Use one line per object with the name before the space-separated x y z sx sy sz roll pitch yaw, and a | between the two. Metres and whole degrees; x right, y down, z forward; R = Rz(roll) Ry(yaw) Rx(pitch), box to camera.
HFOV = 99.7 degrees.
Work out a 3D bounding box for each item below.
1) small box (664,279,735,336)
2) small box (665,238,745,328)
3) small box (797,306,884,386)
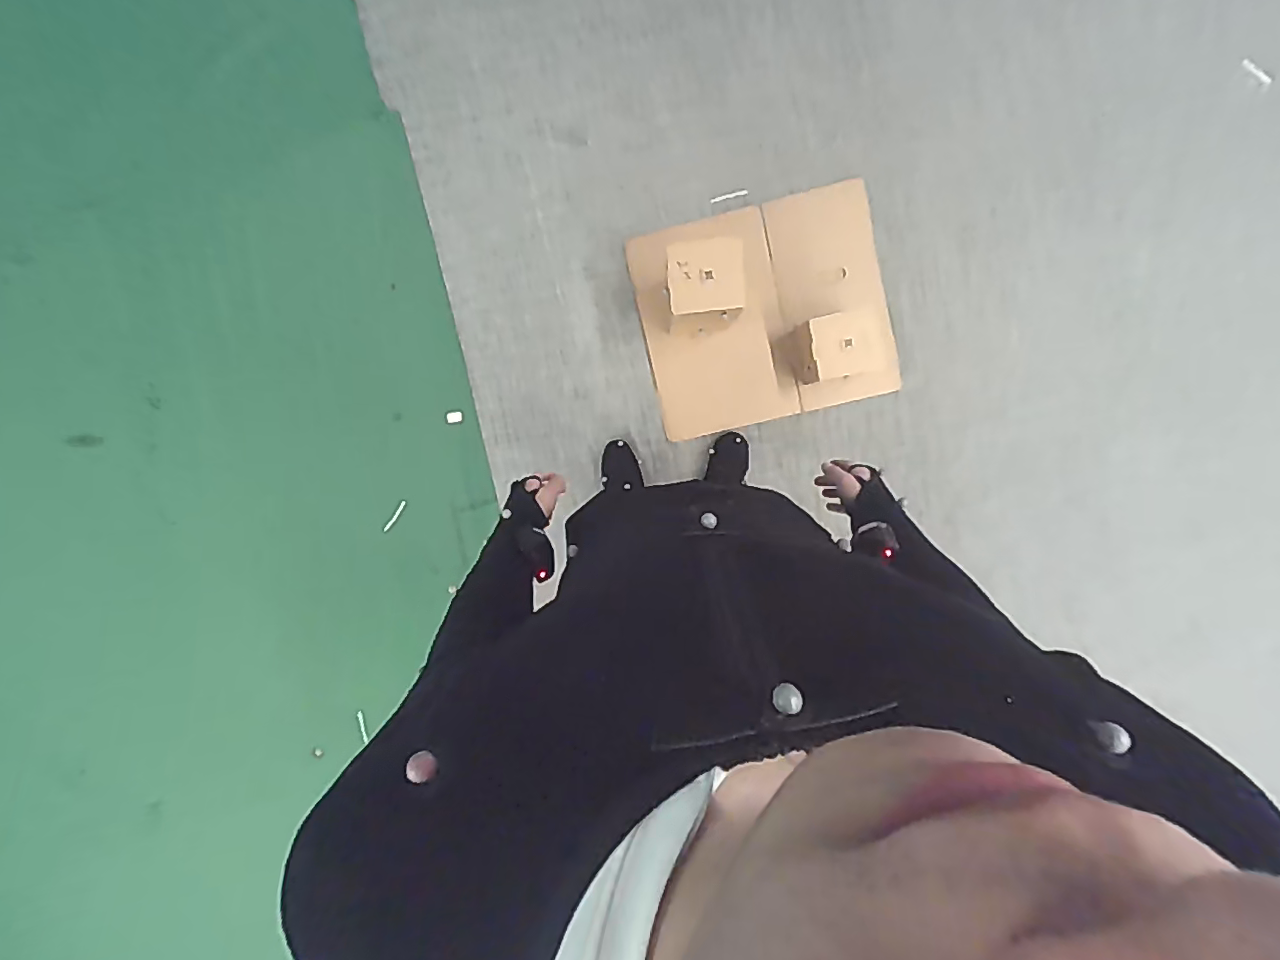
small box | 0.159 -0.498 1.489 0.179 0.176 0.168 -5 95 4
small box | 0.154 -0.475 1.325 0.179 0.176 0.168 -5 95 4
small box | 0.539 -0.359 1.483 0.179 0.176 0.168 -12 95 5
